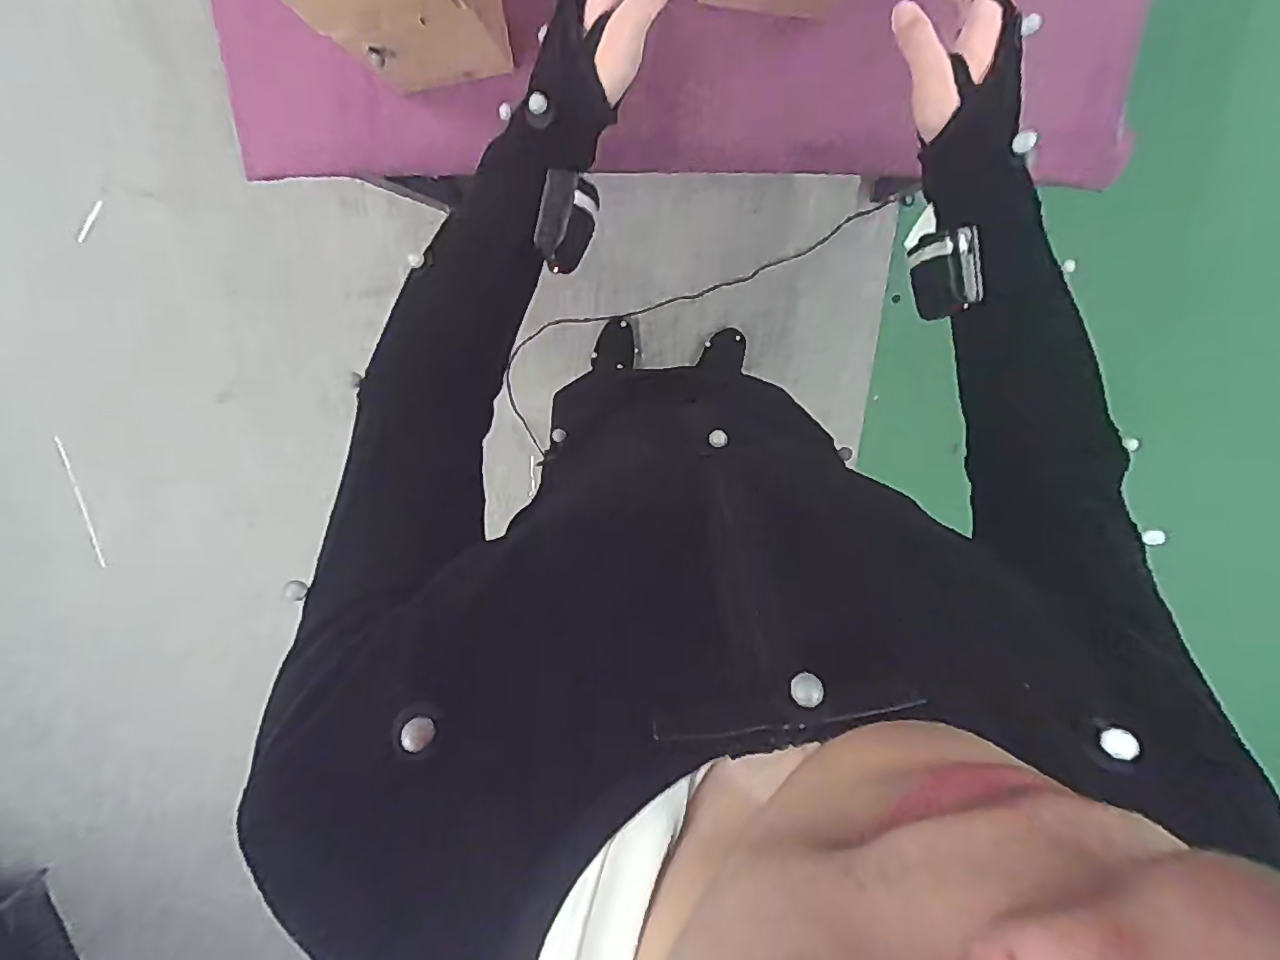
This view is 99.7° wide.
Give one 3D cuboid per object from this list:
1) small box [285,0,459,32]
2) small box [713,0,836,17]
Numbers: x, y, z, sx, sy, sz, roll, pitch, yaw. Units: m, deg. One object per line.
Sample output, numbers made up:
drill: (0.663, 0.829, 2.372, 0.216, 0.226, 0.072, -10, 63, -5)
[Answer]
small box: (-0.269, -0.543, 0.481, 0.179, 0.176, 0.168, -5, 108, 5)
small box: (0.169, -0.654, 0.595, 0.179, 0.176, 0.168, 8, 109, -1)
